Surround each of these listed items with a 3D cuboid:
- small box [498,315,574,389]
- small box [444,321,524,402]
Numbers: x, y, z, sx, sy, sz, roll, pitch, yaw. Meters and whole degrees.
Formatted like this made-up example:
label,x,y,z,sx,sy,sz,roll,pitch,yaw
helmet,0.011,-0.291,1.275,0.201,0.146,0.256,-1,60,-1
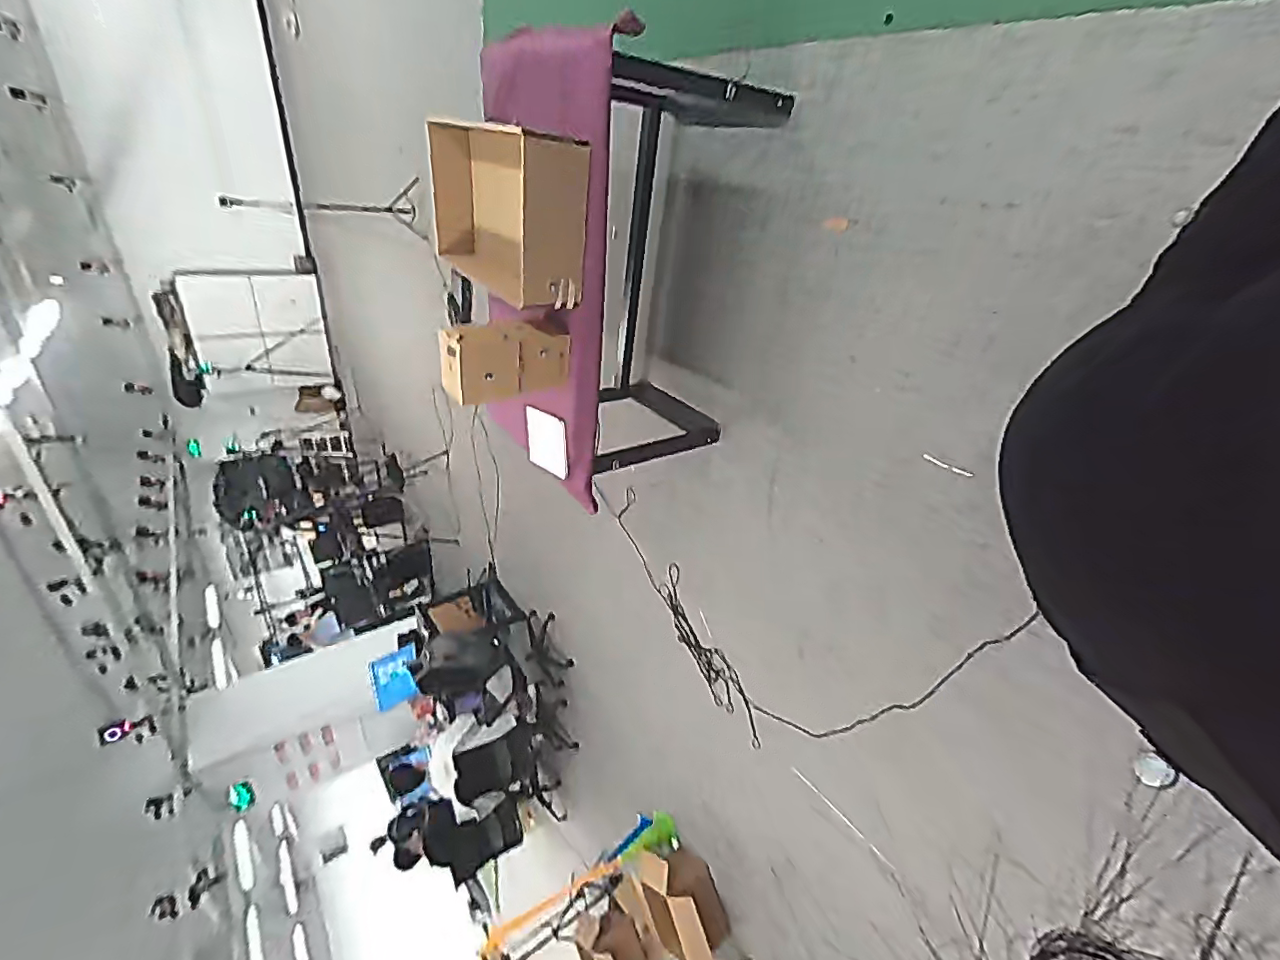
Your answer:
label,x,y,z,sx,sy,sz,roll,pitch,yaw
small box,-0.310,-0.389,1.617,0.179,0.176,0.168,41,134,41
small box,-0.436,-0.341,1.523,0.168,0.176,0.179,41,134,41
